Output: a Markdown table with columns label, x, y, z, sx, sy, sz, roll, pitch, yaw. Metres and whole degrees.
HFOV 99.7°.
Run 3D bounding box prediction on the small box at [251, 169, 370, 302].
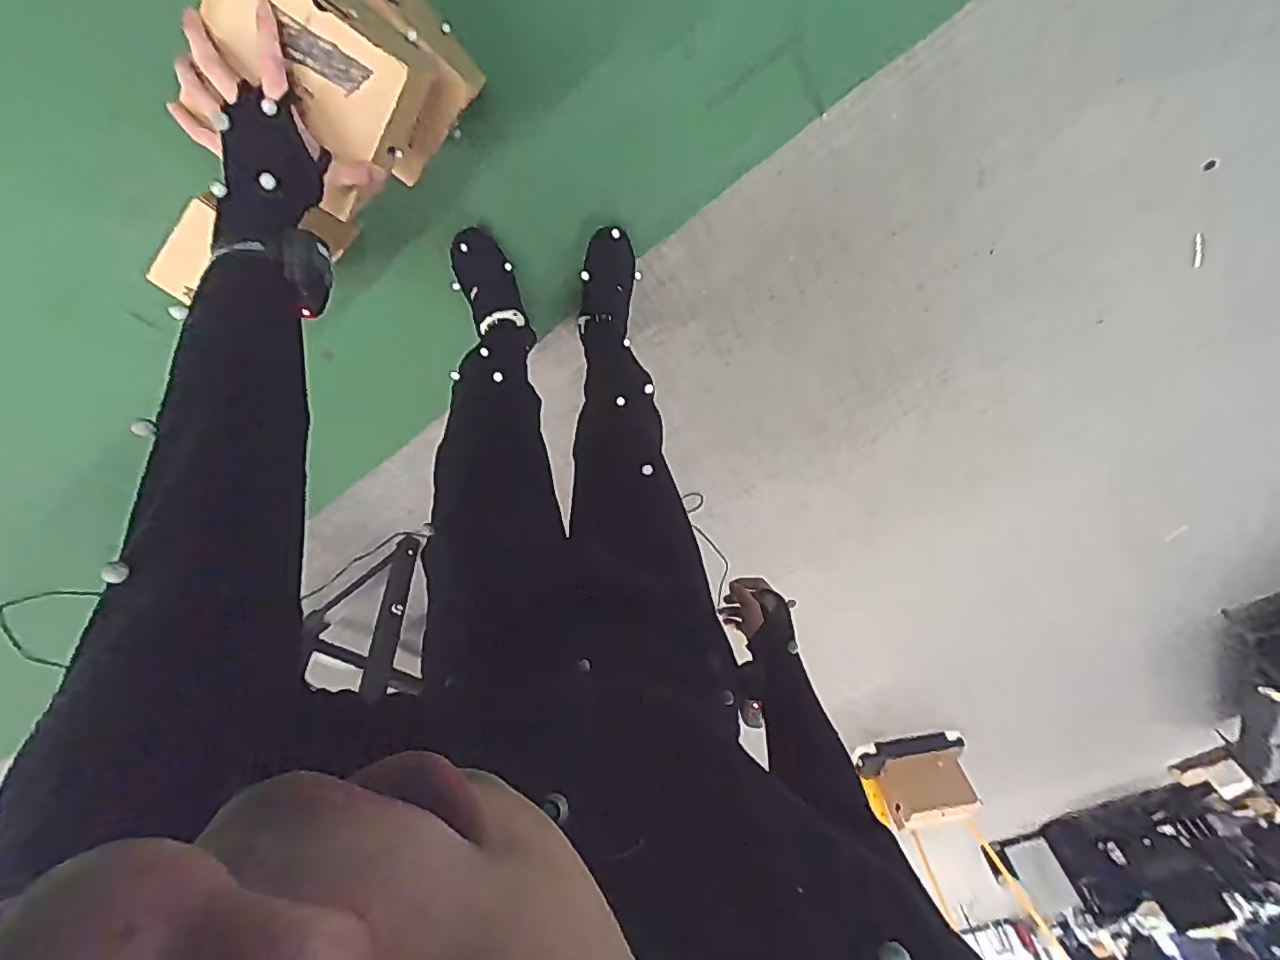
| label | x | y | z | sx | sy | sz | roll | pitch | yaw |
| --- | --- | --- | --- | --- | --- | --- | --- | --- | --- |
| small box | -0.653 | -0.484 | 1.031 | 0.168 | 0.176 | 0.179 | -33 | 127 | 21 |

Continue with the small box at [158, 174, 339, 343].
| label | x | y | z | sx | sy | sz | roll | pitch | yaw |
| --- | --- | --- | --- | --- | --- | --- | --- | --- | --- |
| small box | -0.640 | -0.375 | 0.909 | 0.179 | 0.176 | 0.168 | -36 | 126 | 21 |

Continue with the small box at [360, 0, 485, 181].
| label | x | y | z | sx | sy | sz | roll | pitch | yaw |
| --- | --- | --- | --- | --- | --- | --- | --- | --- | --- |
| small box | -0.345 | -0.574 | 0.774 | 0.179 | 0.176 | 0.168 | 33 | 120 | -32 |

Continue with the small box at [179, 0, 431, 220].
| label | x | y | z | sx | sy | sz | roll | pitch | yaw |
| --- | --- | --- | --- | --- | --- | --- | --- | --- | --- |
| small box | -0.347 | -0.431 | 0.591 | 0.168 | 0.176 | 0.179 | 28 | 122 | -26 |
